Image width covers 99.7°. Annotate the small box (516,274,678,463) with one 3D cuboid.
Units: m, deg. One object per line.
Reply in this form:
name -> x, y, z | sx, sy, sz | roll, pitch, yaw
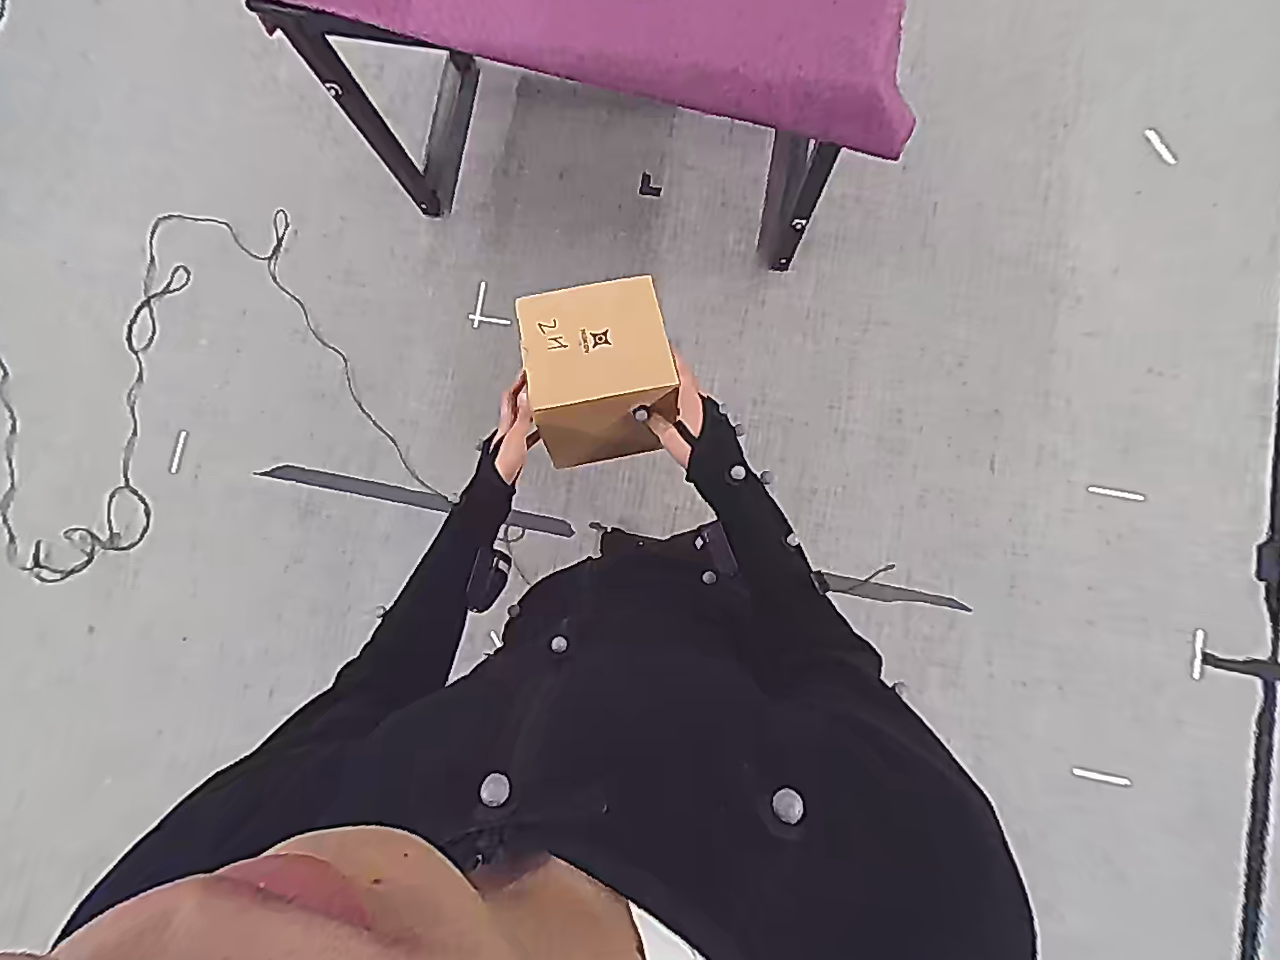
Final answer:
small box -> -0.054, -0.138, 0.713 | 0.179, 0.176, 0.168 | -10, 67, -2
